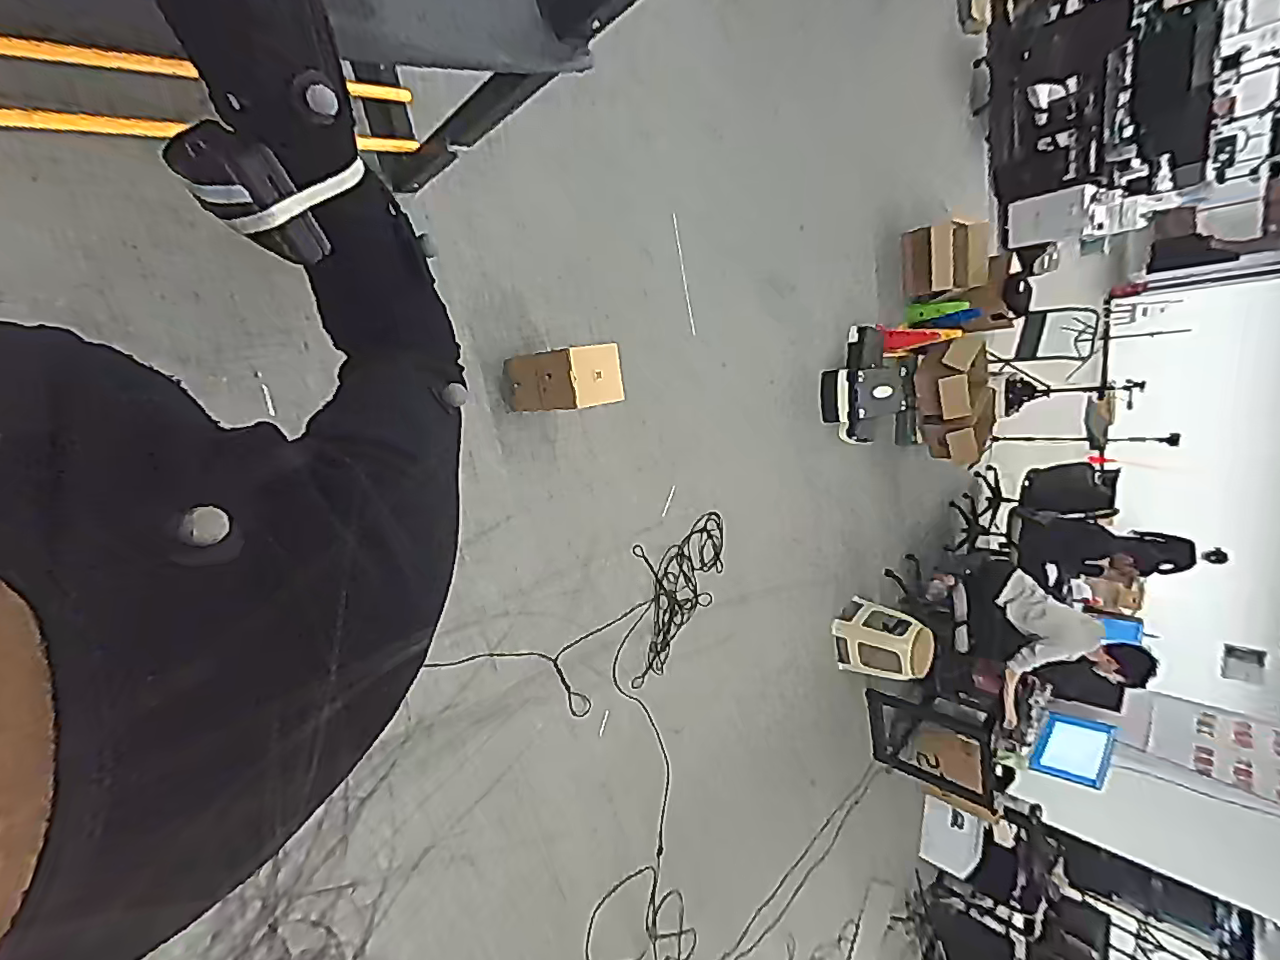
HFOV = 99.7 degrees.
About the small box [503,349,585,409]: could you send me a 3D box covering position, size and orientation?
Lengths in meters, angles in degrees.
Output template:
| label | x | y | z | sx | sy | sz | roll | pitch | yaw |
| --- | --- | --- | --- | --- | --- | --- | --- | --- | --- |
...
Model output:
| label | x | y | z | sx | sy | sz | roll | pitch | yaw |
| --- | --- | --- | --- | --- | --- | --- | --- | --- | --- |
| small box | -0.298 | -0.312 | 1.677 | 0.179 | 0.176 | 0.168 | -17 | 105 | -41 |
